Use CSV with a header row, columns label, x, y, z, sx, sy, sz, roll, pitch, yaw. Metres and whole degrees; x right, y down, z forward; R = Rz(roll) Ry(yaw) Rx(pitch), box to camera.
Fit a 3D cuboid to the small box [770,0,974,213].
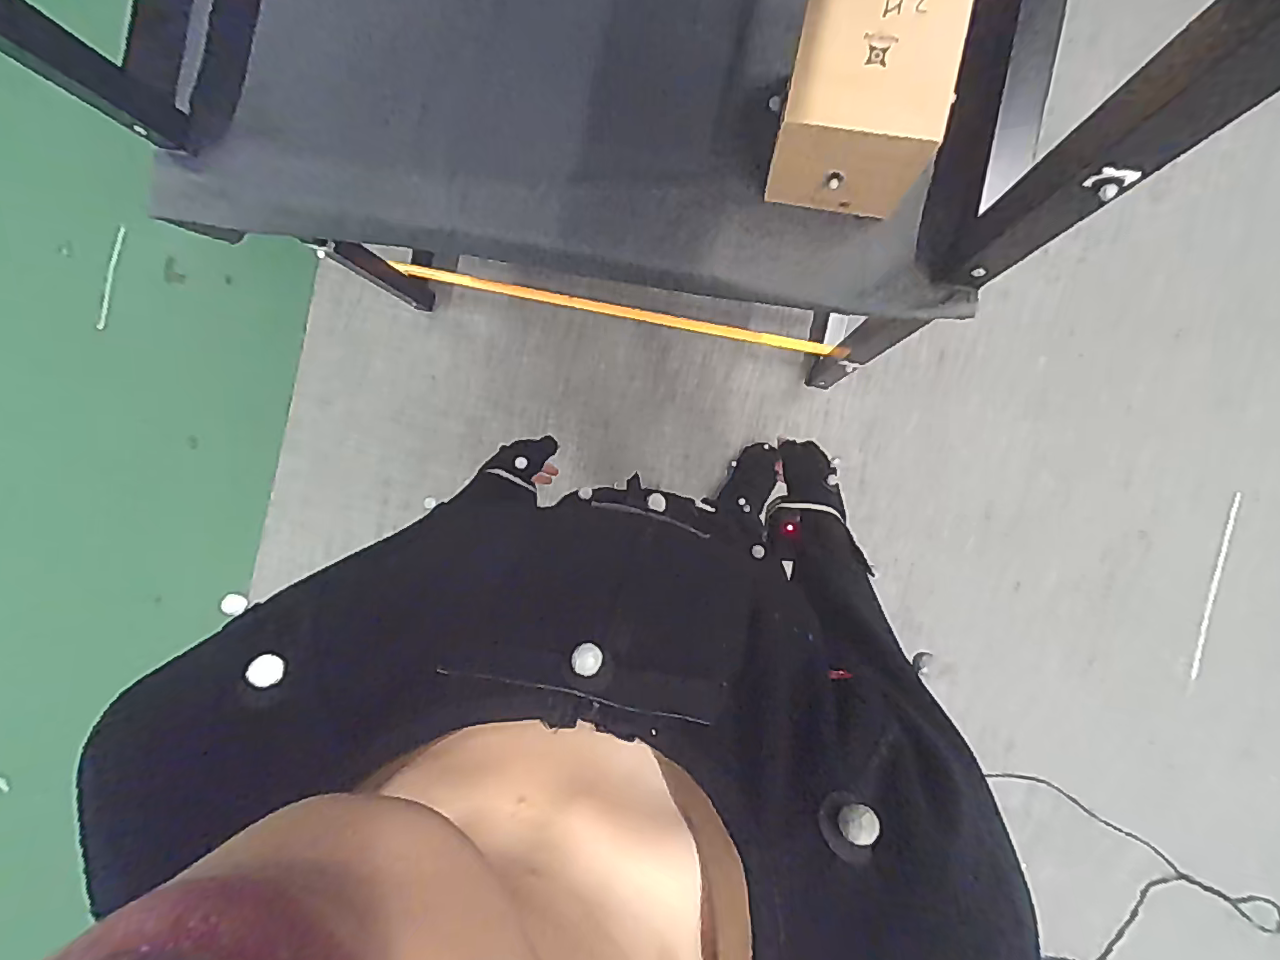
label,x,y,z,sx,sy,sz,roll,pitch,yaw
small box,0.258,-0.448,0.643,0.168,0.176,0.179,12,91,5
